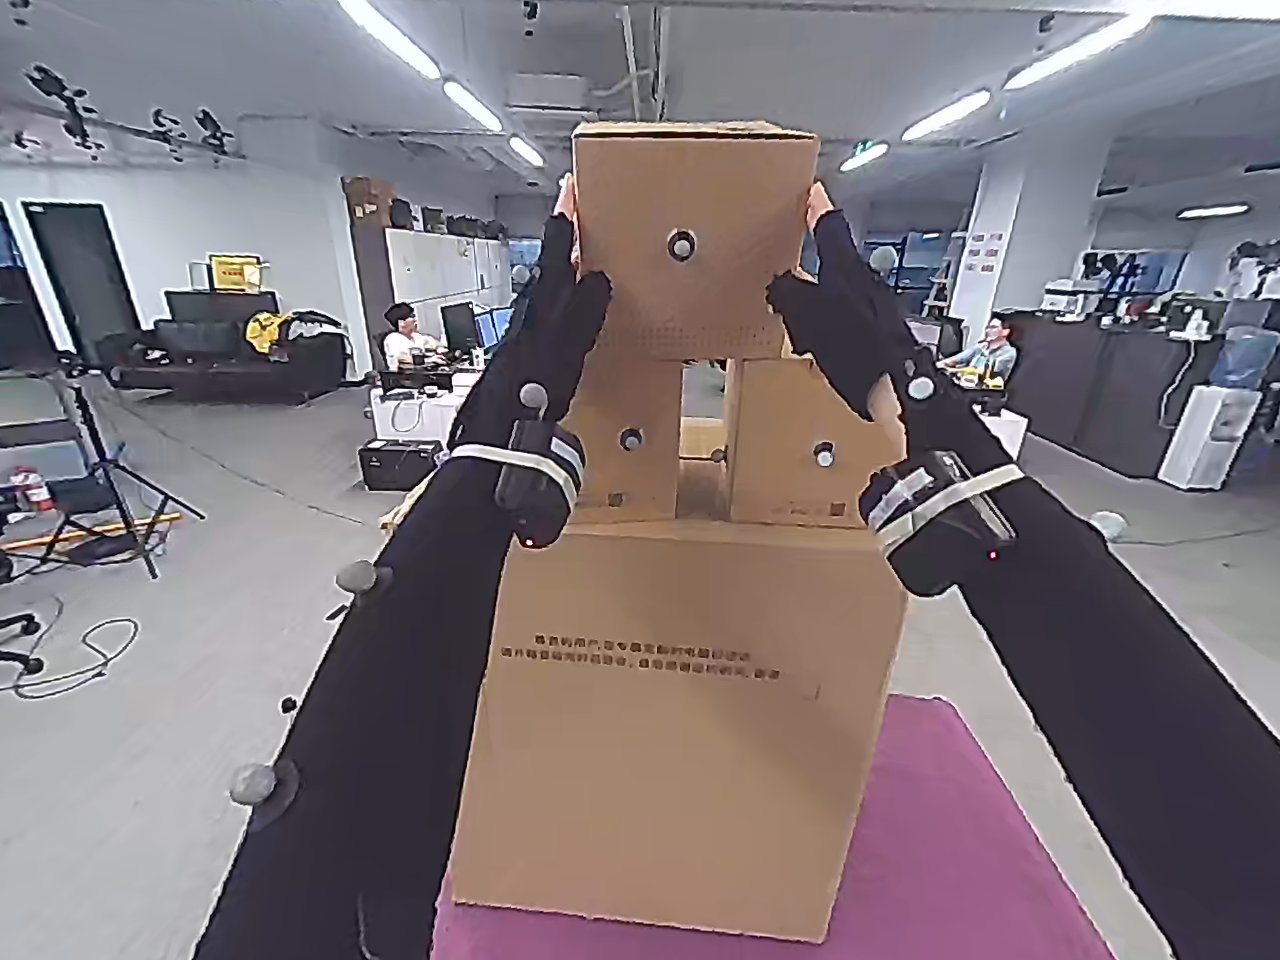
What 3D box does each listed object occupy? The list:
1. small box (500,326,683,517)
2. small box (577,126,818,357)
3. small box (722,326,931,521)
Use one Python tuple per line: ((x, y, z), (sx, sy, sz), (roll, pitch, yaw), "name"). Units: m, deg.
((-0.053, -0.067, 0.581), (0.168, 0.176, 0.179), (-1, 23, -8), "small box")
((0.039, -0.219, 0.493), (0.179, 0.176, 0.168), (-2, 33, -2), "small box")
((0.180, -0.067, 0.582), (0.168, 0.176, 0.179), (3, 24, 4), "small box")
